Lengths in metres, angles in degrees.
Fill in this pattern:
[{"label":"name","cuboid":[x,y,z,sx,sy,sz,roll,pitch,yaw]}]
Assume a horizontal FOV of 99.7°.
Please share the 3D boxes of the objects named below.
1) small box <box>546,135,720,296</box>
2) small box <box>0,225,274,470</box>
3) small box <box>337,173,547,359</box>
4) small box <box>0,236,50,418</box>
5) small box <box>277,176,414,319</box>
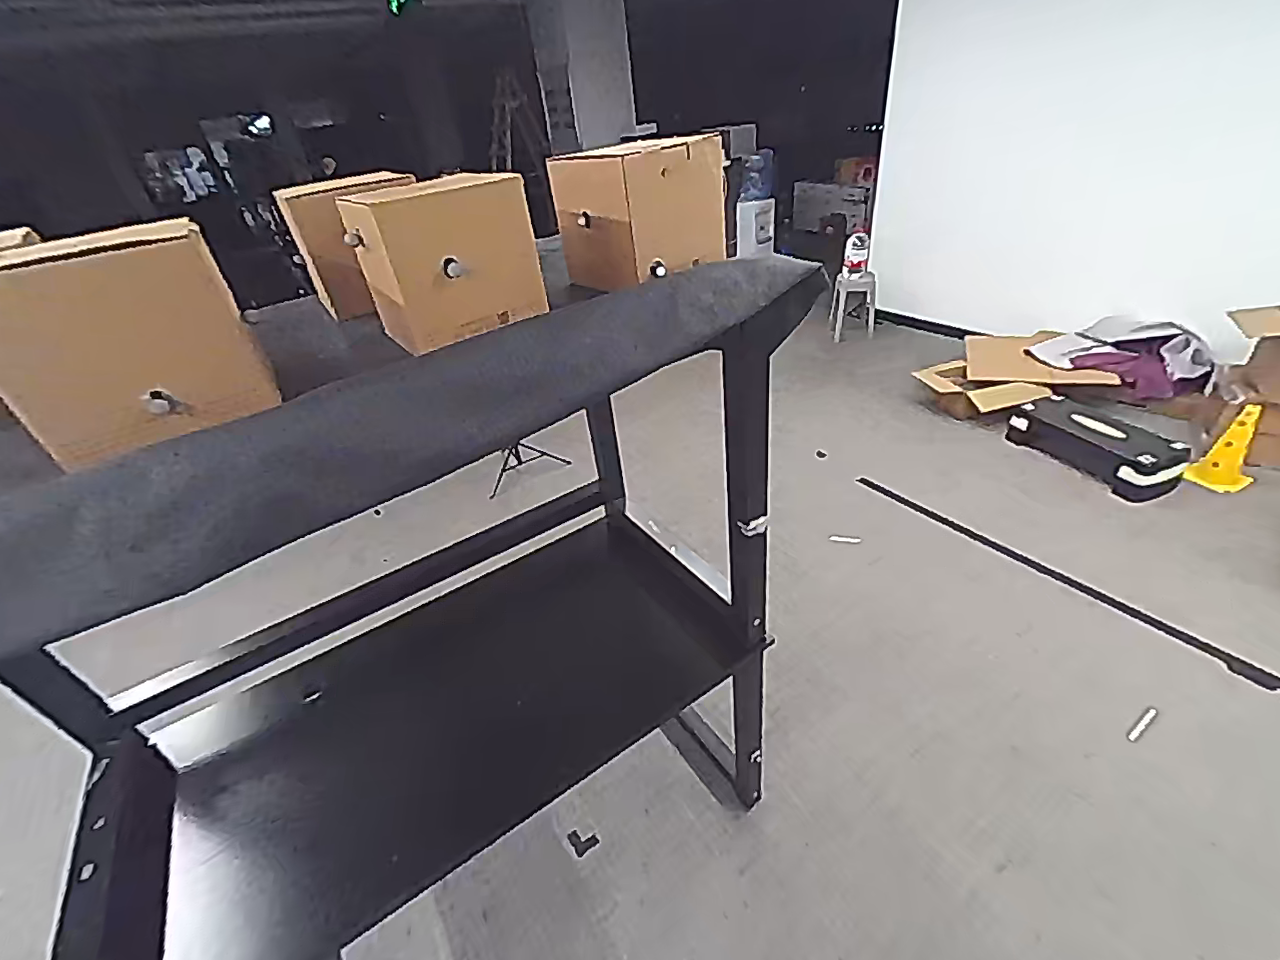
[{"label":"small box","cuboid":[-0.003,-0.369,0.760,0.168,0.176,0.179,-30,39,-28]},{"label":"small box","cuboid":[-0.485,-0.136,0.526,0.179,0.176,0.168,-26,38,-25]},{"label":"small box","cuboid":[-0.233,-0.261,0.656,0.168,0.176,0.179,-27,38,-25]},{"label":"small box","cuboid":[-0.772,-0.184,0.652,0.168,0.176,0.179,-31,41,-28]},{"label":"small box","cuboid":[-0.427,-0.364,0.843,0.179,0.176,0.168,-25,39,-24]}]
